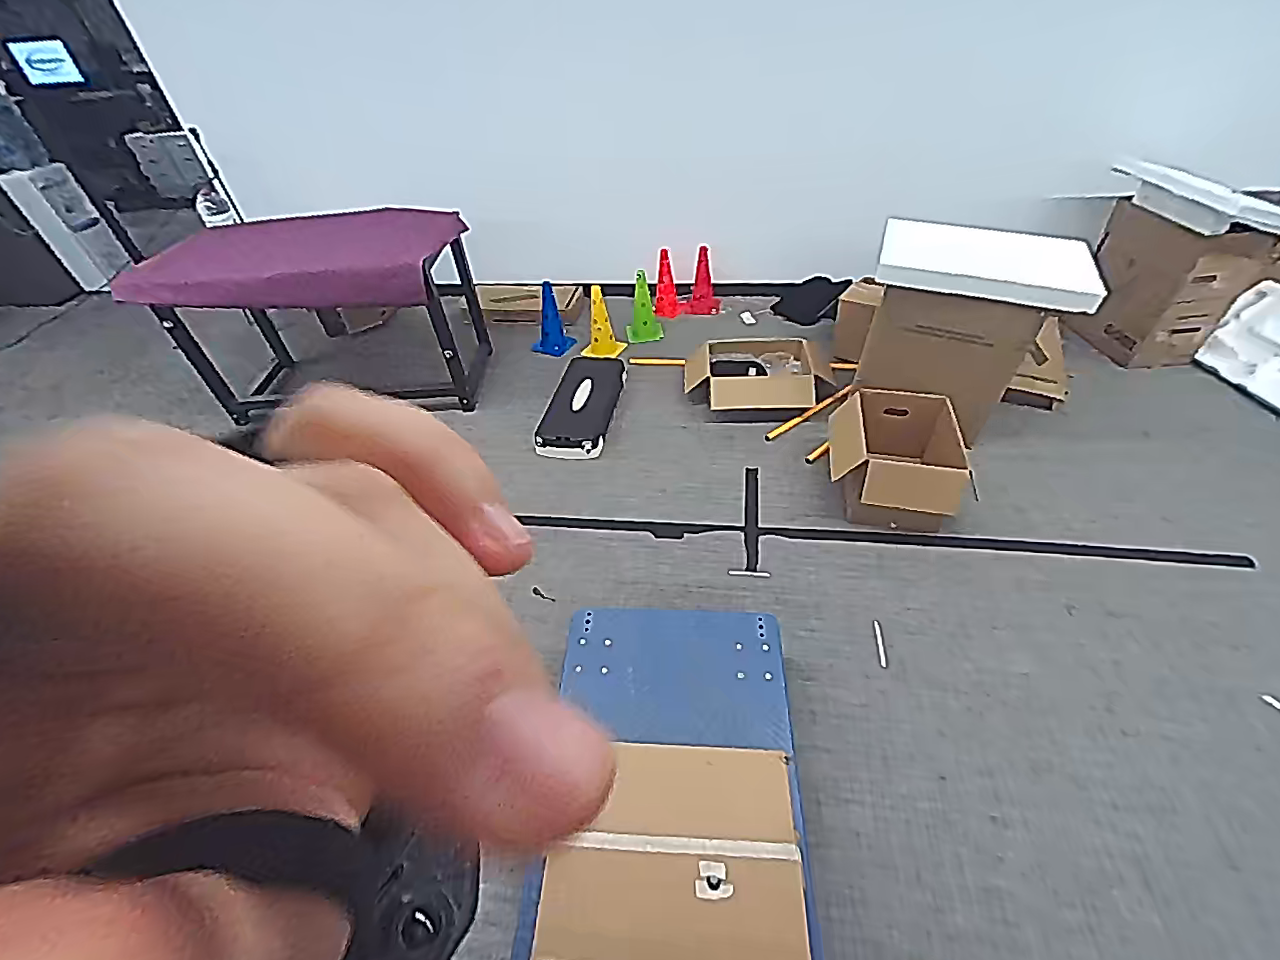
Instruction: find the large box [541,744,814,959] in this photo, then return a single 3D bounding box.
[{"bbox_3d":[0.063,0.708,0.985,0.408,0.320,0.320,1,45,4],"label":"large box"}]
